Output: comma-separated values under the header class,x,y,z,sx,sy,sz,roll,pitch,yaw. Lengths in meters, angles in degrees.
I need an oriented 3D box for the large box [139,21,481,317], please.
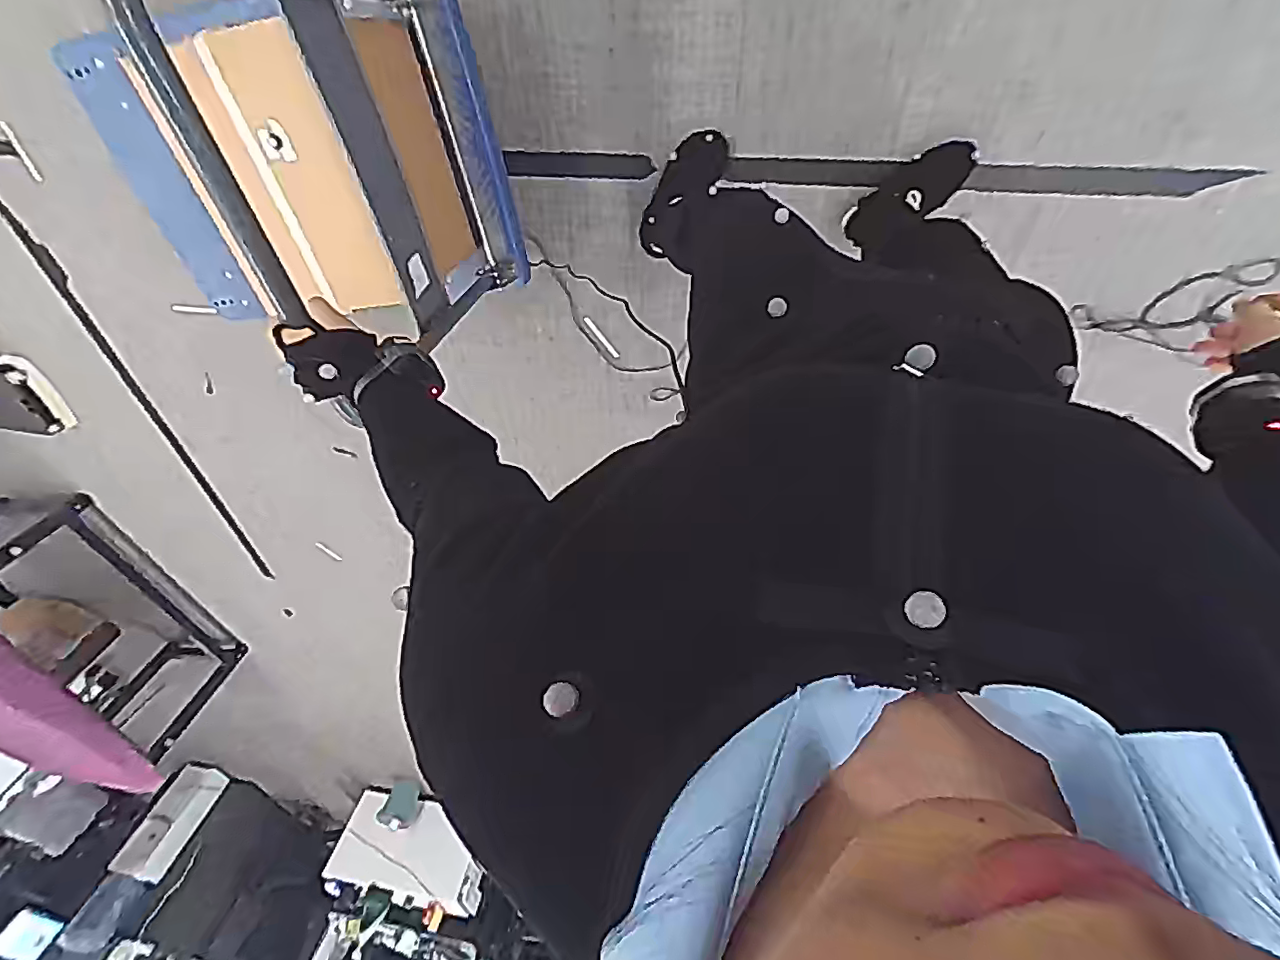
class,x,y,z,sx,sy,sz,roll,pitch,yaw
large box,-0.555,-0.565,1.014,0.320,0.320,0.408,-2,127,13
